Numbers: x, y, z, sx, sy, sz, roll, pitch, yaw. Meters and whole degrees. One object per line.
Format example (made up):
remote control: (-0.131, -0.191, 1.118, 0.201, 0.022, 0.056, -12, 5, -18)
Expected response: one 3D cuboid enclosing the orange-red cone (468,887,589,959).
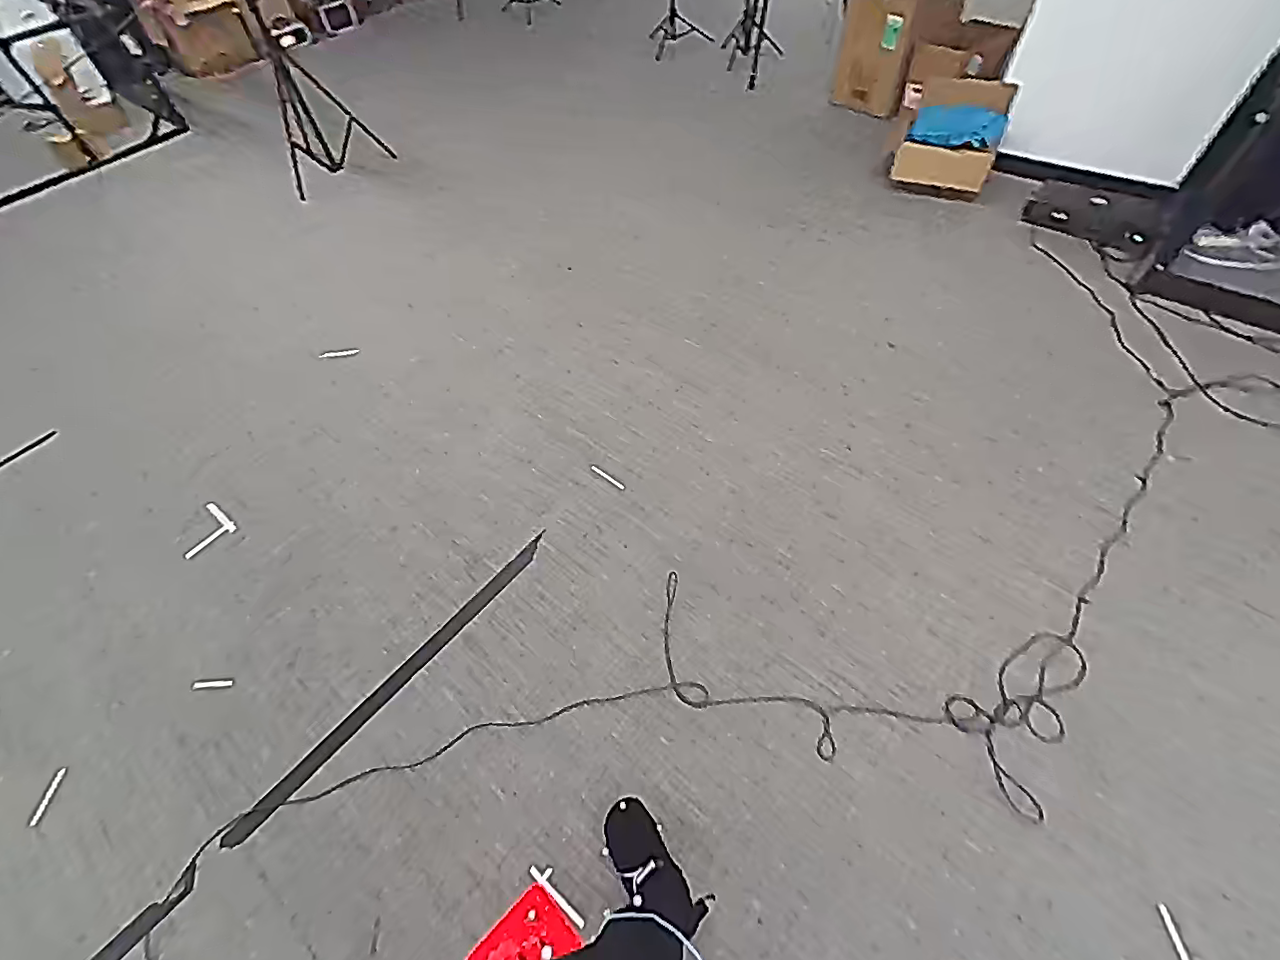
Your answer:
orange-red cone: (-0.232, 0.854, 0.917, 0.199, 0.360, 0.198, -38, 59, -19)
